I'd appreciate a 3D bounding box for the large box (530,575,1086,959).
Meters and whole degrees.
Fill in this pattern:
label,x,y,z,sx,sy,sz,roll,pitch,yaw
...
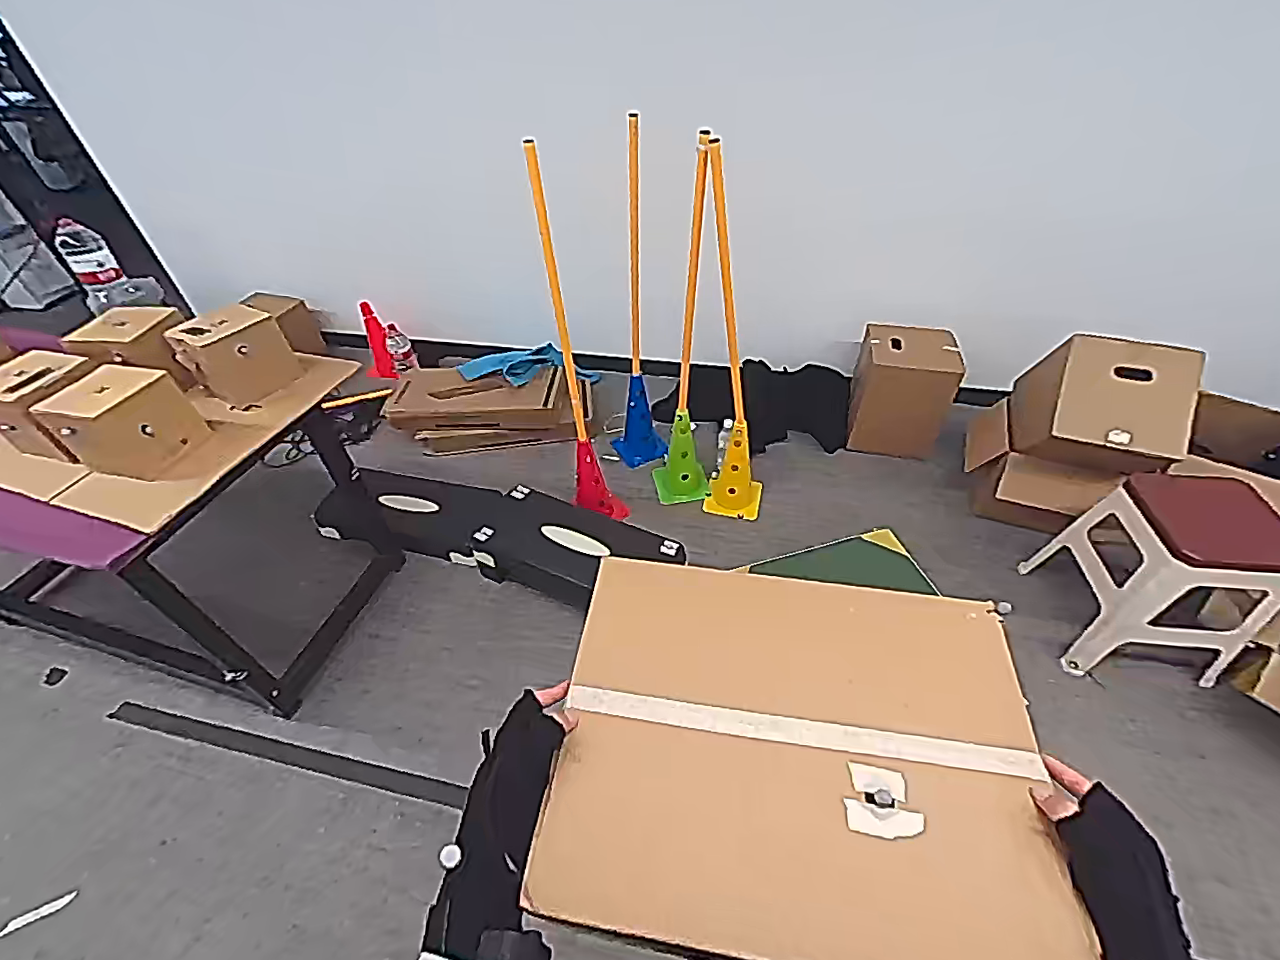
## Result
label,x,y,z,sx,sy,sz,roll,pitch,yaw
large box,0.136,0.333,0.586,0.408,0.320,0.320,6,49,7
